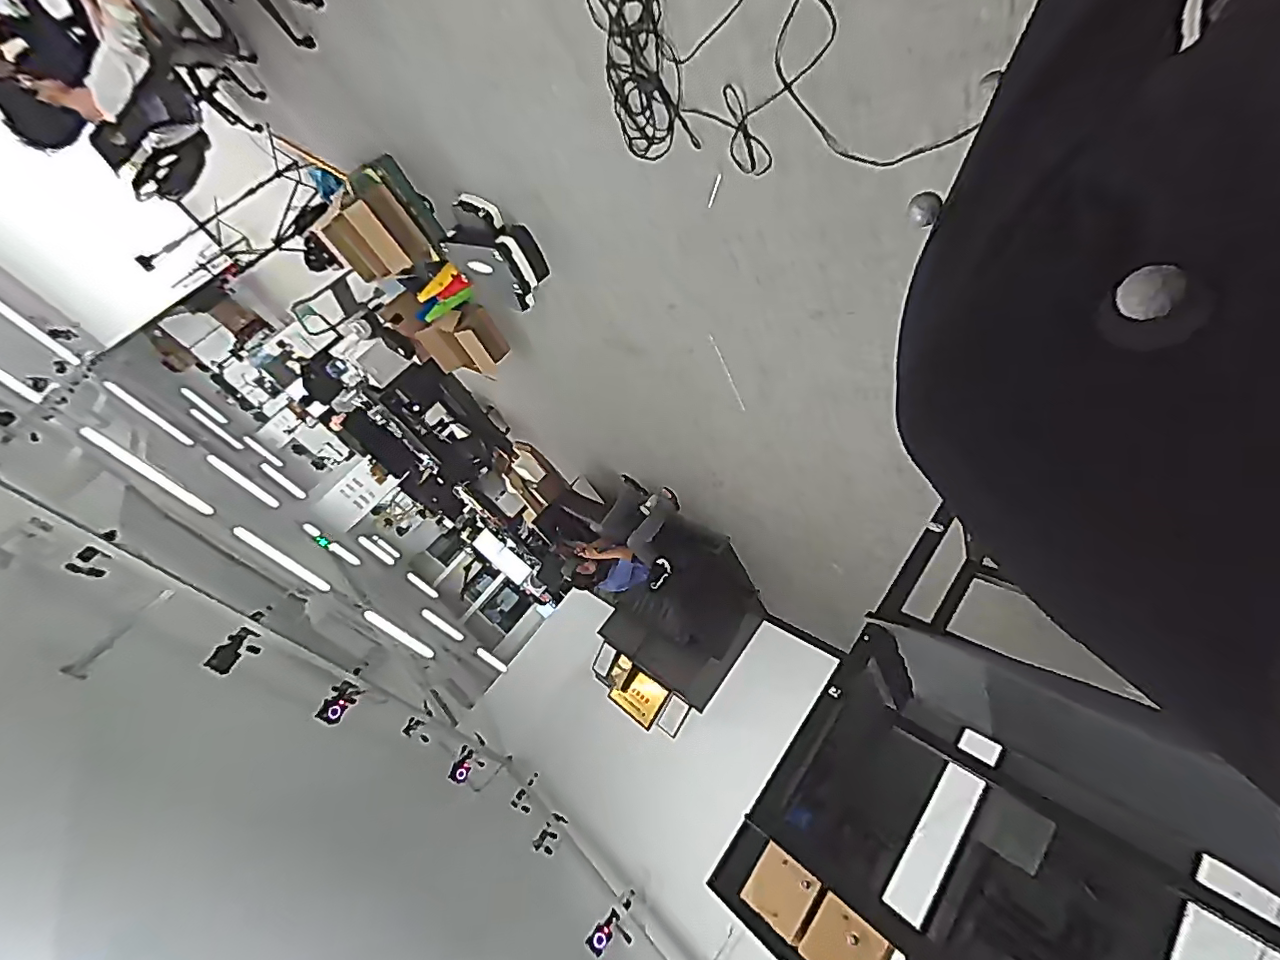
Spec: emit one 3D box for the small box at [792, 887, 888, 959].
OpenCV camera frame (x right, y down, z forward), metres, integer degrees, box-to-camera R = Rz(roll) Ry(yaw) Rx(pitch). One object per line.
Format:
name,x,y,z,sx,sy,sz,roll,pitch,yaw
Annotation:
small box,0.527,1.208,1.408,0.168,0.176,0.179,23,154,43

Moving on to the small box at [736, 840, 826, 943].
small box,0.405,1.163,1.536,0.168,0.176,0.179,22,155,43
